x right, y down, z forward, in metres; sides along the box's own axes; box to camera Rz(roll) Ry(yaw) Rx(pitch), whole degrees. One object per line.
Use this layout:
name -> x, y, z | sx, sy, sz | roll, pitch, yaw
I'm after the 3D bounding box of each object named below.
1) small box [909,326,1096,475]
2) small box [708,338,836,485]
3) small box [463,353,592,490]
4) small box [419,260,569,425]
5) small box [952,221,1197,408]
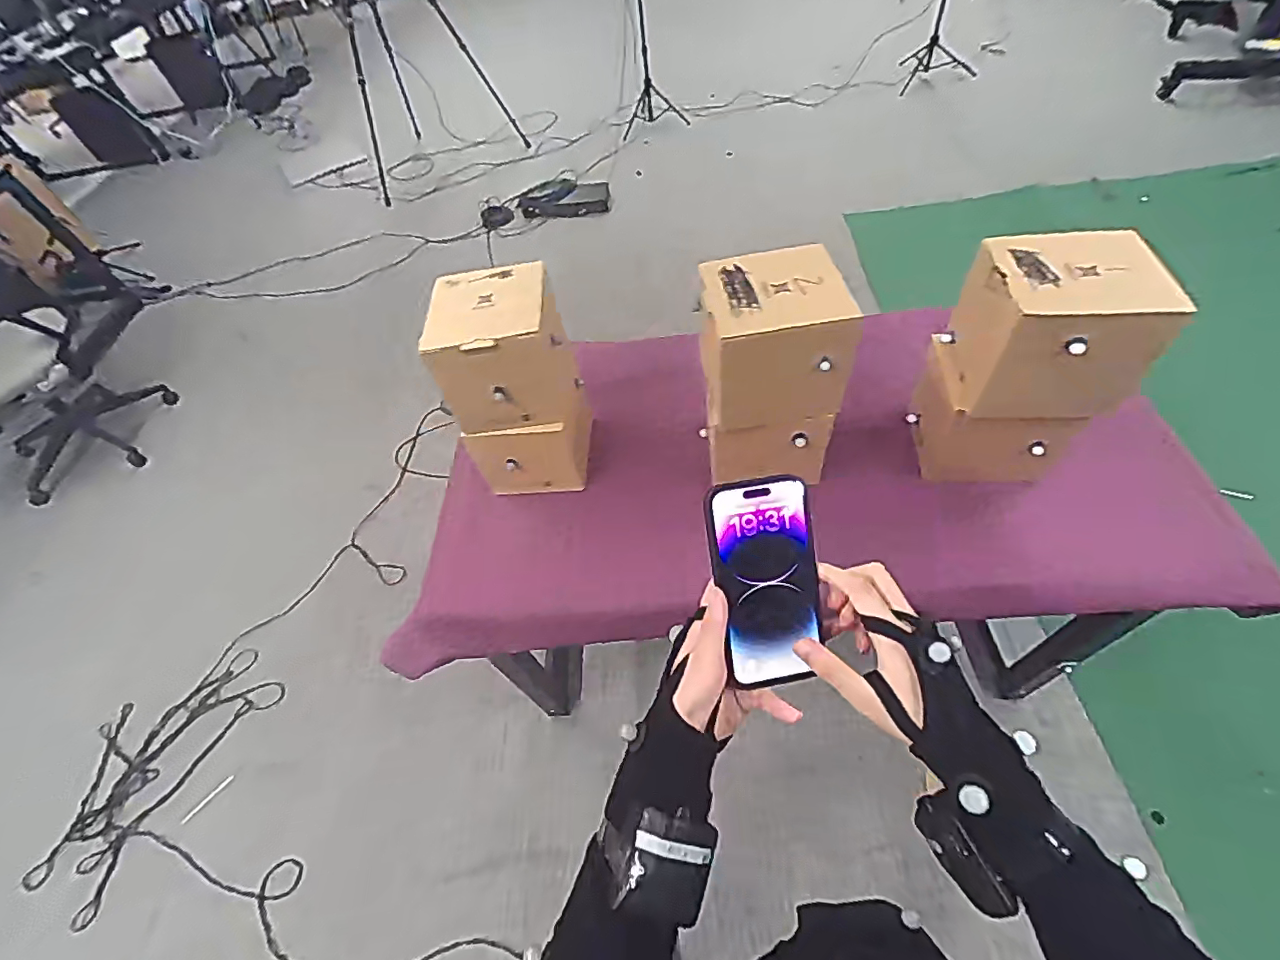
small box -> 0.541, -0.120, 0.836 | 0.179, 0.176, 0.168 | 1, 53, 11
small box -> 0.204, -0.107, 0.883 | 0.179, 0.176, 0.168 | -4, 53, 7
small box -> -0.182, -0.094, 0.941 | 0.168, 0.176, 0.179 | -4, 53, 7
small box -> -0.205, -0.198, 0.815 | 0.168, 0.176, 0.179 | -8, 53, 3
small box -> 0.527, -0.206, 0.697 | 0.179, 0.176, 0.168 | 1, 53, 10
